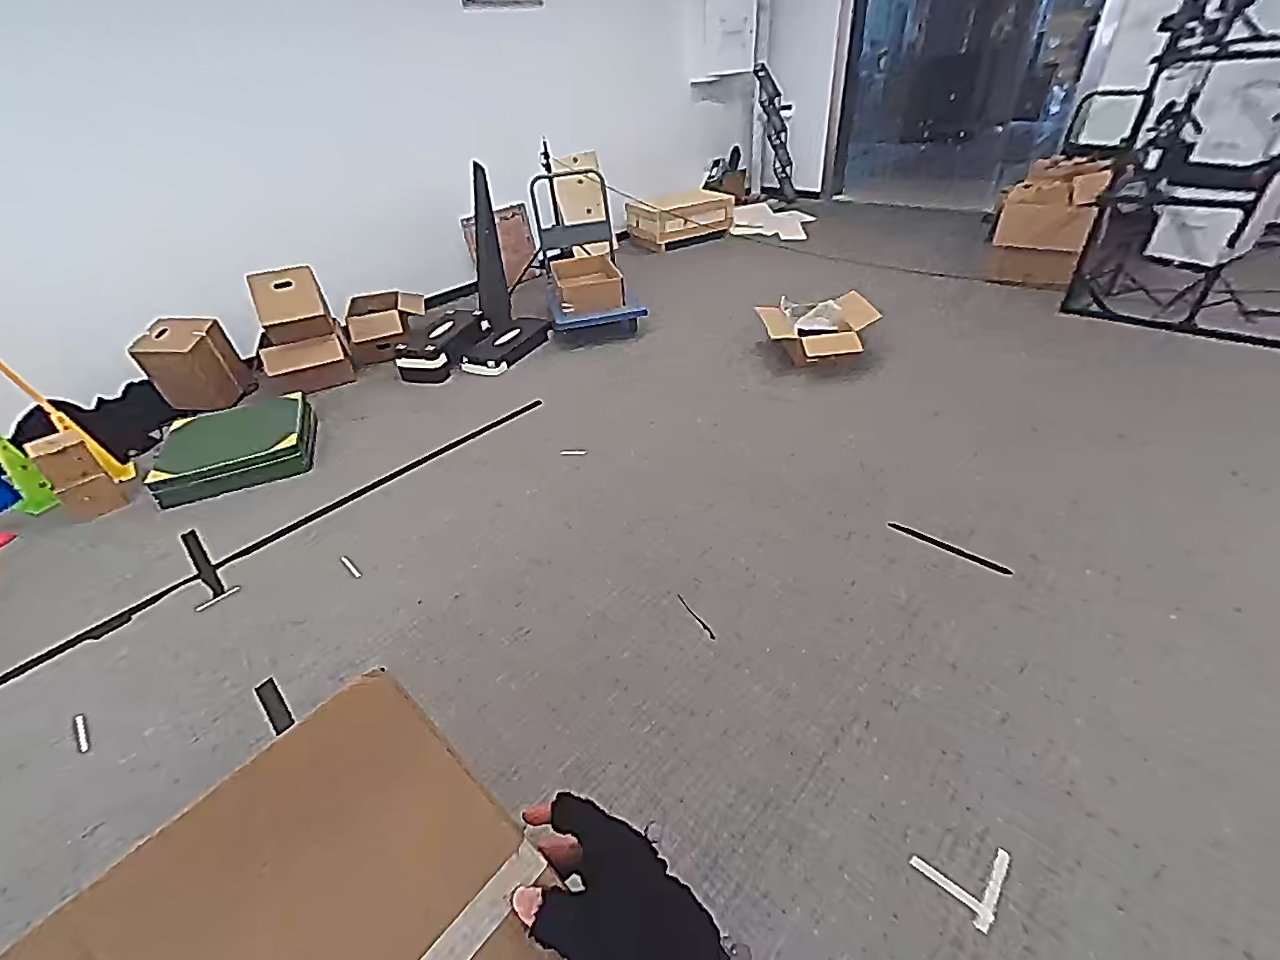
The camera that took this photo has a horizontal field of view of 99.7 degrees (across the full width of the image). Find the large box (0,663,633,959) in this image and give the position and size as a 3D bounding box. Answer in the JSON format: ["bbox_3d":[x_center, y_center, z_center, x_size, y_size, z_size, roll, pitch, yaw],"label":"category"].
[{"bbox_3d":[-0.253,0.402,0.369,0.320,0.320,0.408,48,58,5],"label":"large box"}]
